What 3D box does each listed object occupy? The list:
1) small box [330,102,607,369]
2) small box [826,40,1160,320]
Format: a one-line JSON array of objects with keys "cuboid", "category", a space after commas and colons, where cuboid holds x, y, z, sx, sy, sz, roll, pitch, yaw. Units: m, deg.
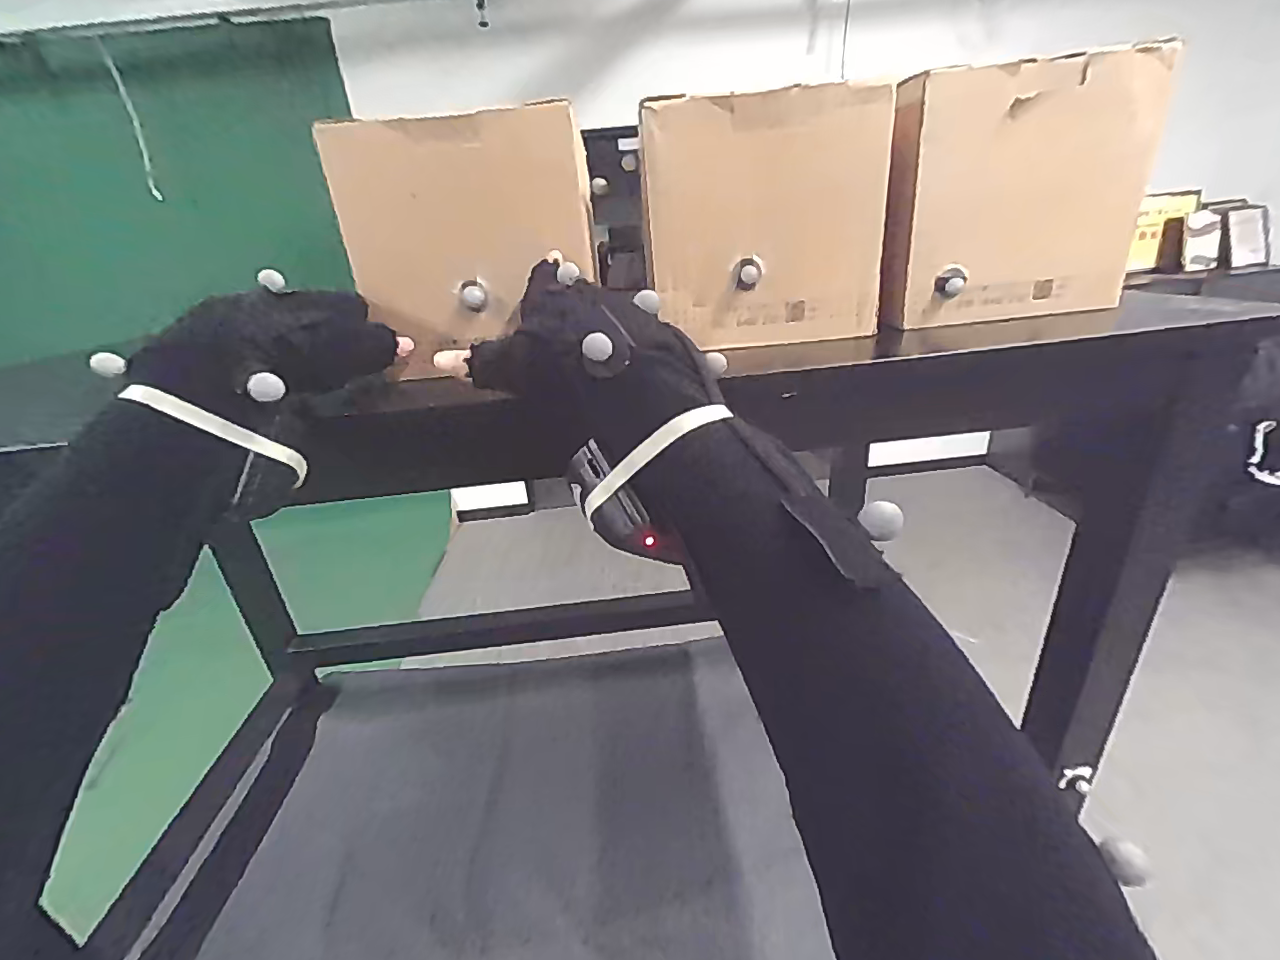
[{"cuboid": [-0.119, -0.195, 0.457, 0.168, 0.176, 0.179, -5, 24, 0], "category": "small box"}, {"cuboid": [0.269, -0.235, 0.463, 0.168, 0.176, 0.179, -5, 23, 1], "category": "small box"}]
